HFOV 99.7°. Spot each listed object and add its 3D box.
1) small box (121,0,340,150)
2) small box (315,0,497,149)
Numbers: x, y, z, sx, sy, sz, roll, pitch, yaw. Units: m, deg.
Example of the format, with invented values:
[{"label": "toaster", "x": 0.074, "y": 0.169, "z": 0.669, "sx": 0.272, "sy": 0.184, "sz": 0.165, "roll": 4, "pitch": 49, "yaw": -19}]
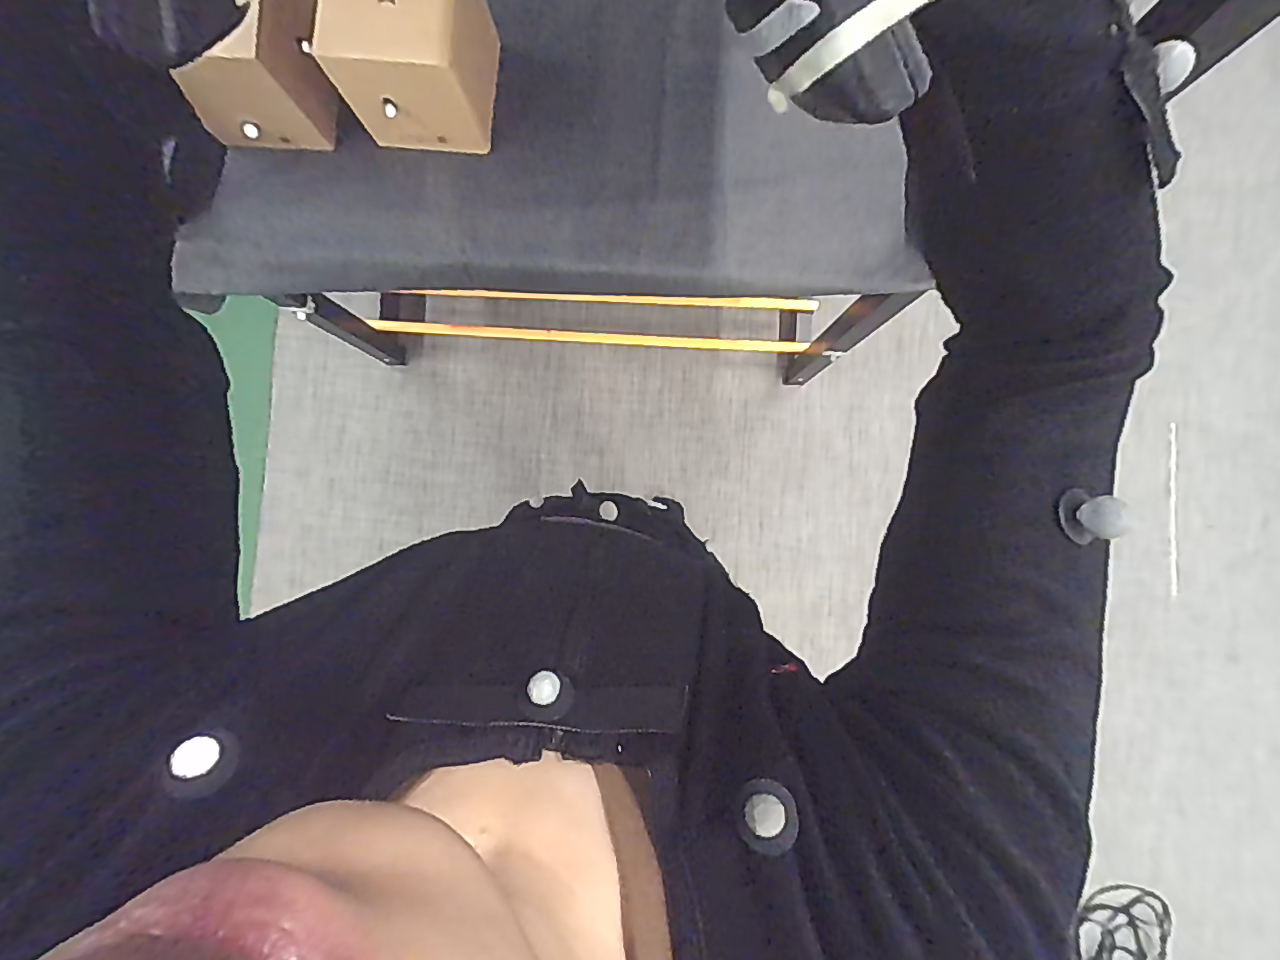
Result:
[{"label": "small box", "x": -0.526, "y": -0.584, "z": 0.722, "sx": 0.168, "sy": 0.176, "sz": 0.179, "roll": 3, "pitch": 87, "yaw": 0}, {"label": "small box", "x": -0.298, "y": -0.580, "z": 0.725, "sx": 0.168, "sy": 0.176, "sz": 0.179, "roll": 4, "pitch": 87, "yaw": 0}]
